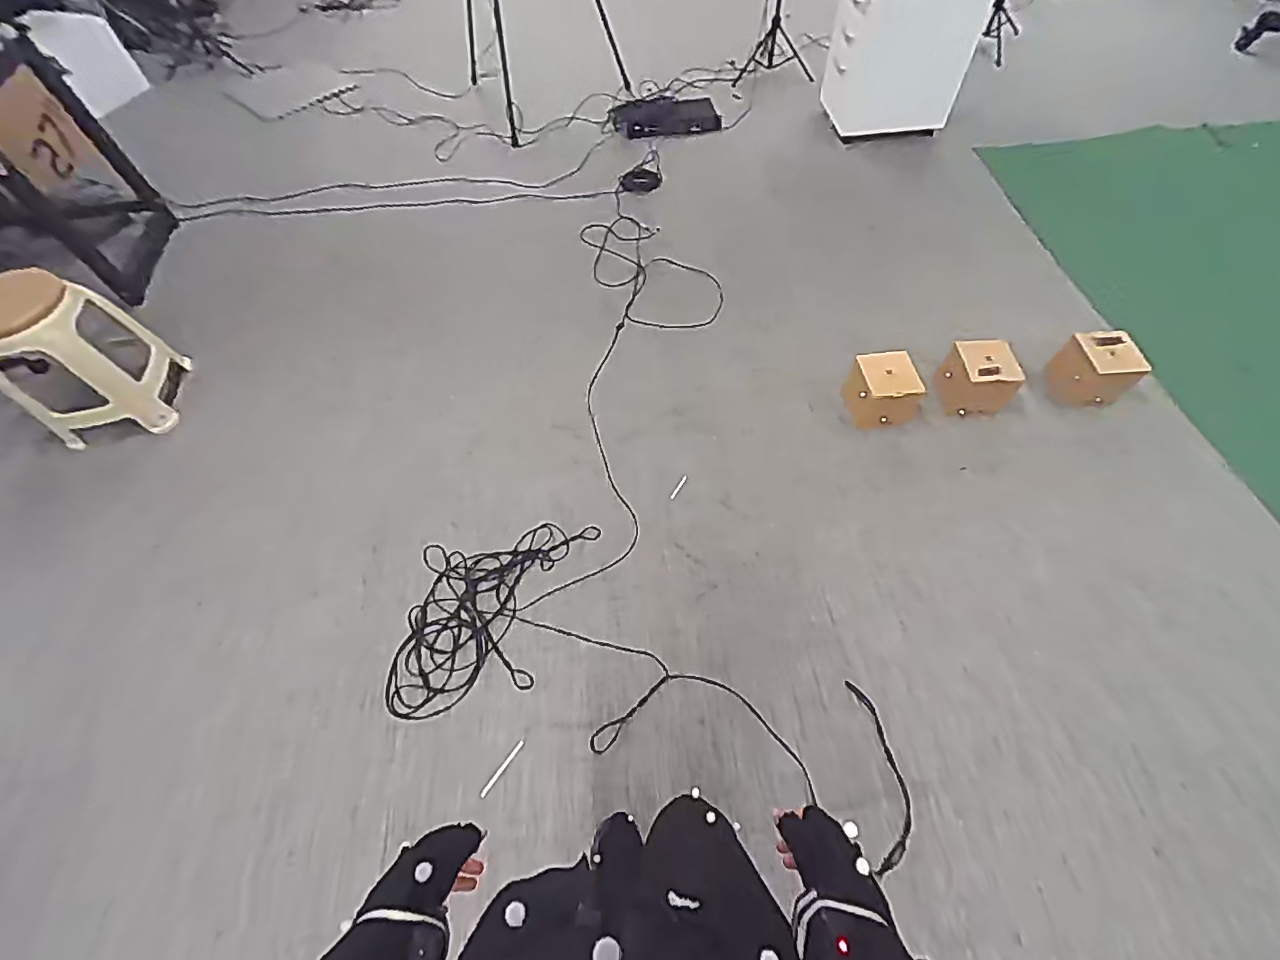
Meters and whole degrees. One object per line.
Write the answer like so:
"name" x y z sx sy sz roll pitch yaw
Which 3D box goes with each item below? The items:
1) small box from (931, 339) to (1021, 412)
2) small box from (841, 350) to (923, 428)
"small box" 1.078 -0.333 1.748 0.168 0.176 0.179 -1 58 1
"small box" 0.766 -0.289 1.736 0.168 0.176 0.179 -7 59 -2
